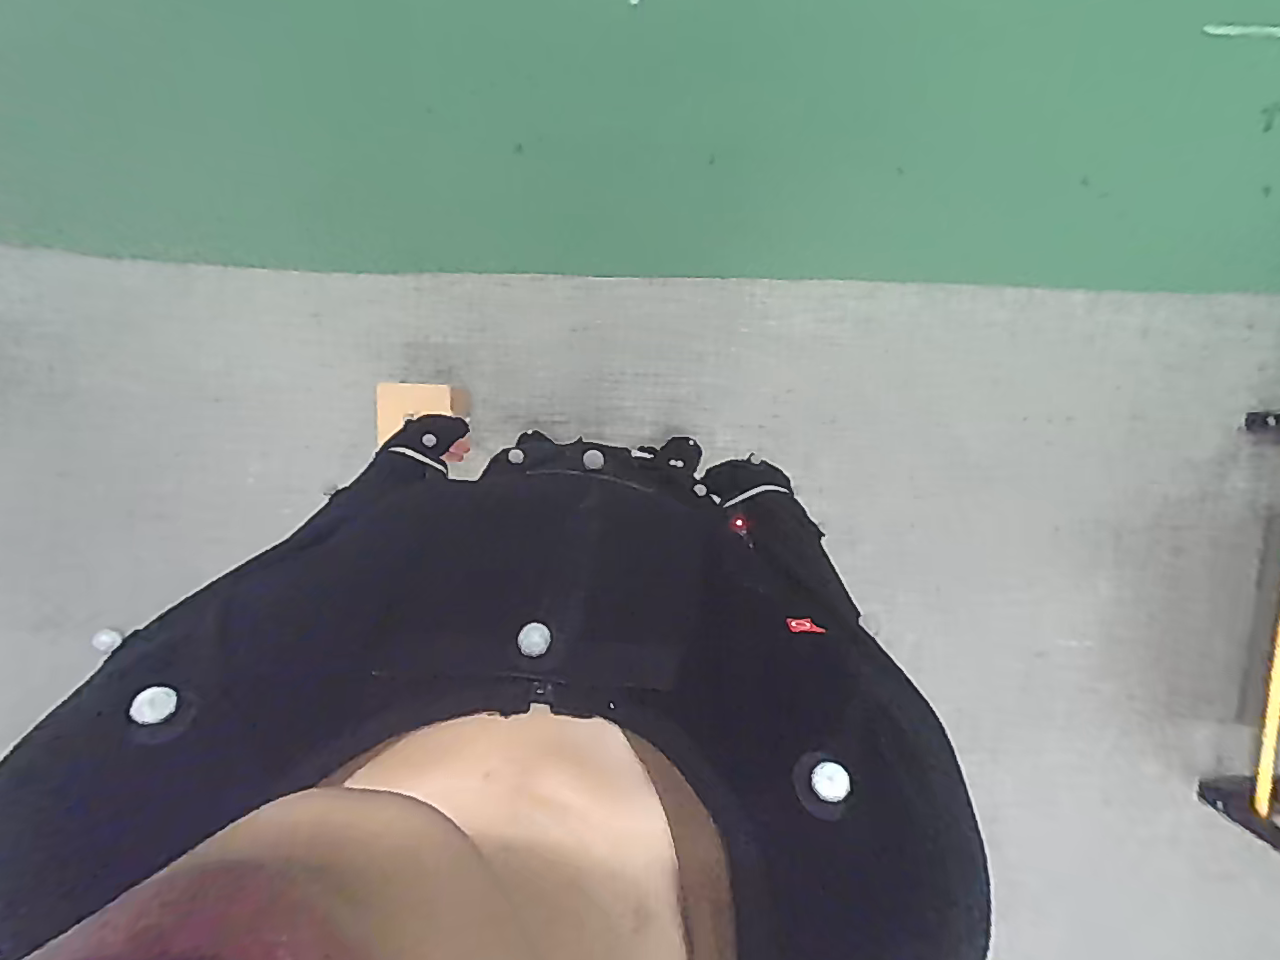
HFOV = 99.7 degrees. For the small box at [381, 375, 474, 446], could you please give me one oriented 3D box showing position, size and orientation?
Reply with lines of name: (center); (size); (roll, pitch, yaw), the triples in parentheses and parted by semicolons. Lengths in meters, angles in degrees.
small box: (-0.535, -0.175, 1.377); (0.179, 0.176, 0.168); (2, 97, -2)
